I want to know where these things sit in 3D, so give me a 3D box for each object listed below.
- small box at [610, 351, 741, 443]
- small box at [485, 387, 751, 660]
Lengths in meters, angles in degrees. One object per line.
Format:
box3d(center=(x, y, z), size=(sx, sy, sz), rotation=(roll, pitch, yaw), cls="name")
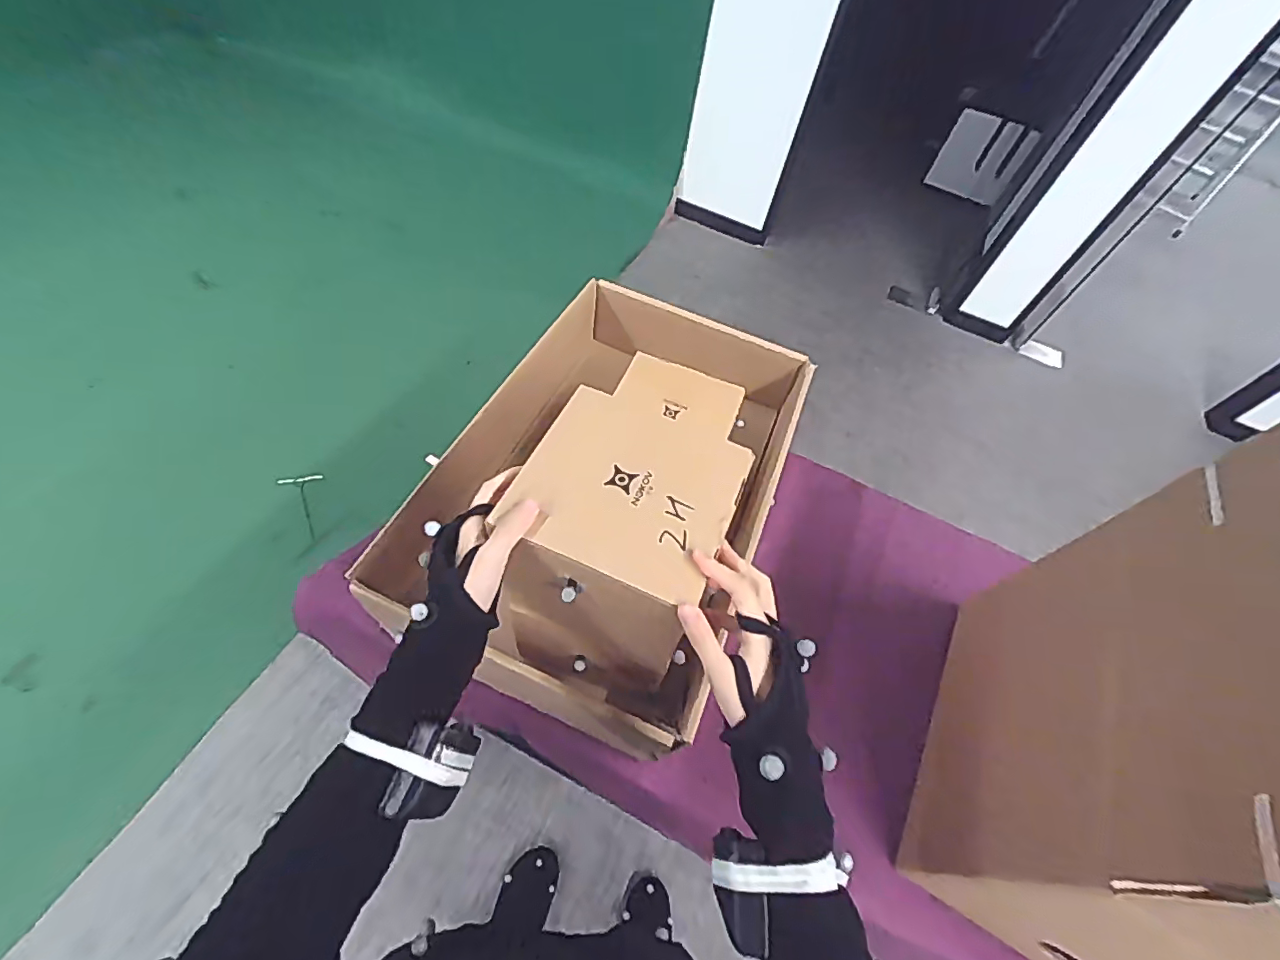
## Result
box3d(center=(0.031, -0.049, 0.789), size=(0.168, 0.176, 0.179), rotation=(21, 56, 7), cls="small box")
box3d(center=(-0.020, 0.049, 0.515), size=(0.179, 0.176, 0.168), rotation=(23, 57, 8), cls="small box")
